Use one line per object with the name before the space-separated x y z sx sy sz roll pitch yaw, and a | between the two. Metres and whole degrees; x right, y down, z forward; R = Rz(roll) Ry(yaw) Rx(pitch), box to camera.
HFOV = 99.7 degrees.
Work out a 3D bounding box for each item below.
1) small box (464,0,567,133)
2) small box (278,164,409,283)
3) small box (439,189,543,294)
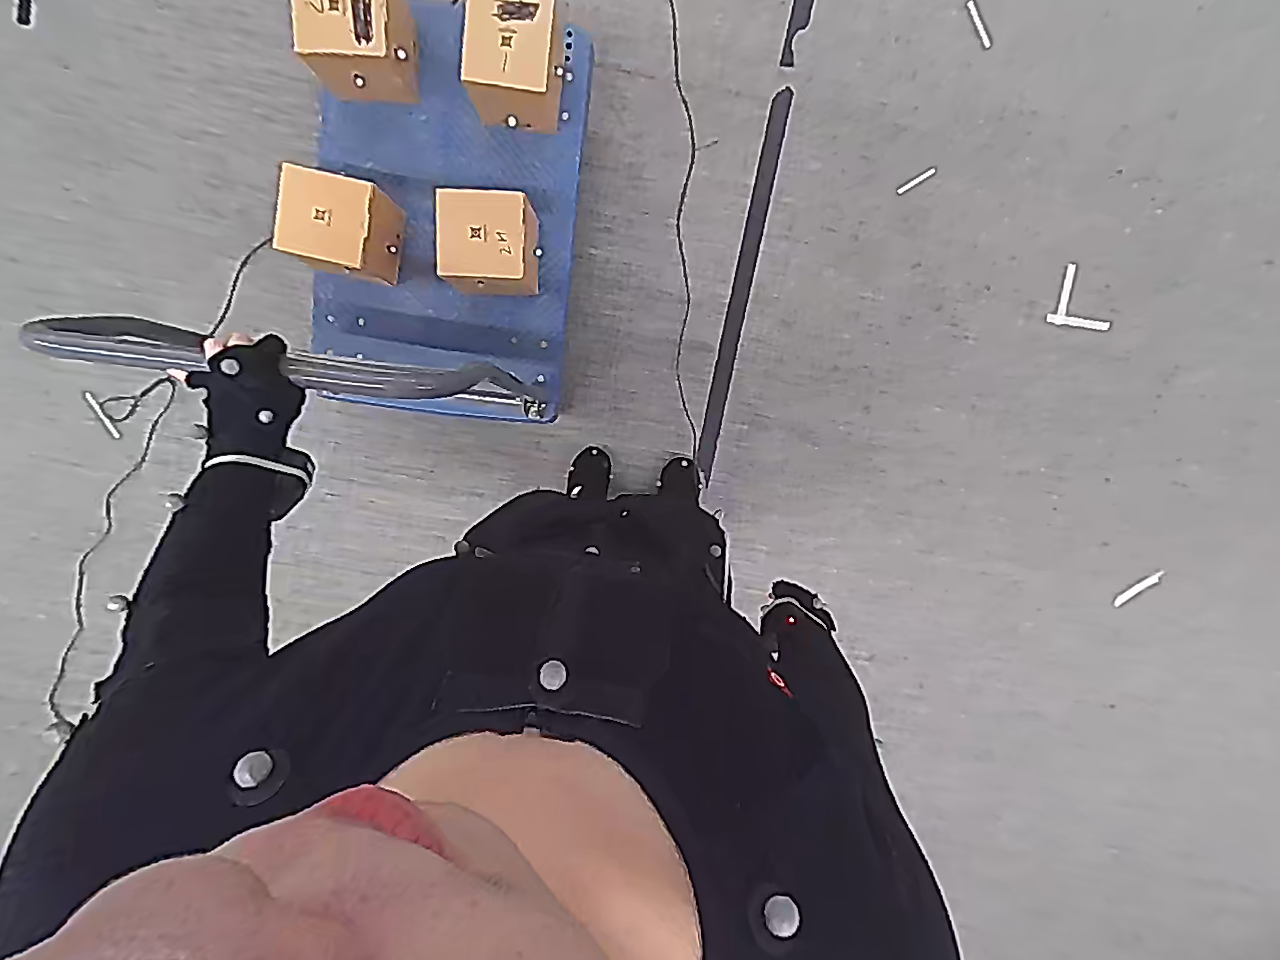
small box | -0.245 -0.848 1.098 0.168 0.176 0.179 7 99 -2
small box | -0.615 -0.527 1.137 0.179 0.176 0.168 11 98 -4
small box | -0.309 -0.497 1.146 0.179 0.176 0.168 2 98 -1
